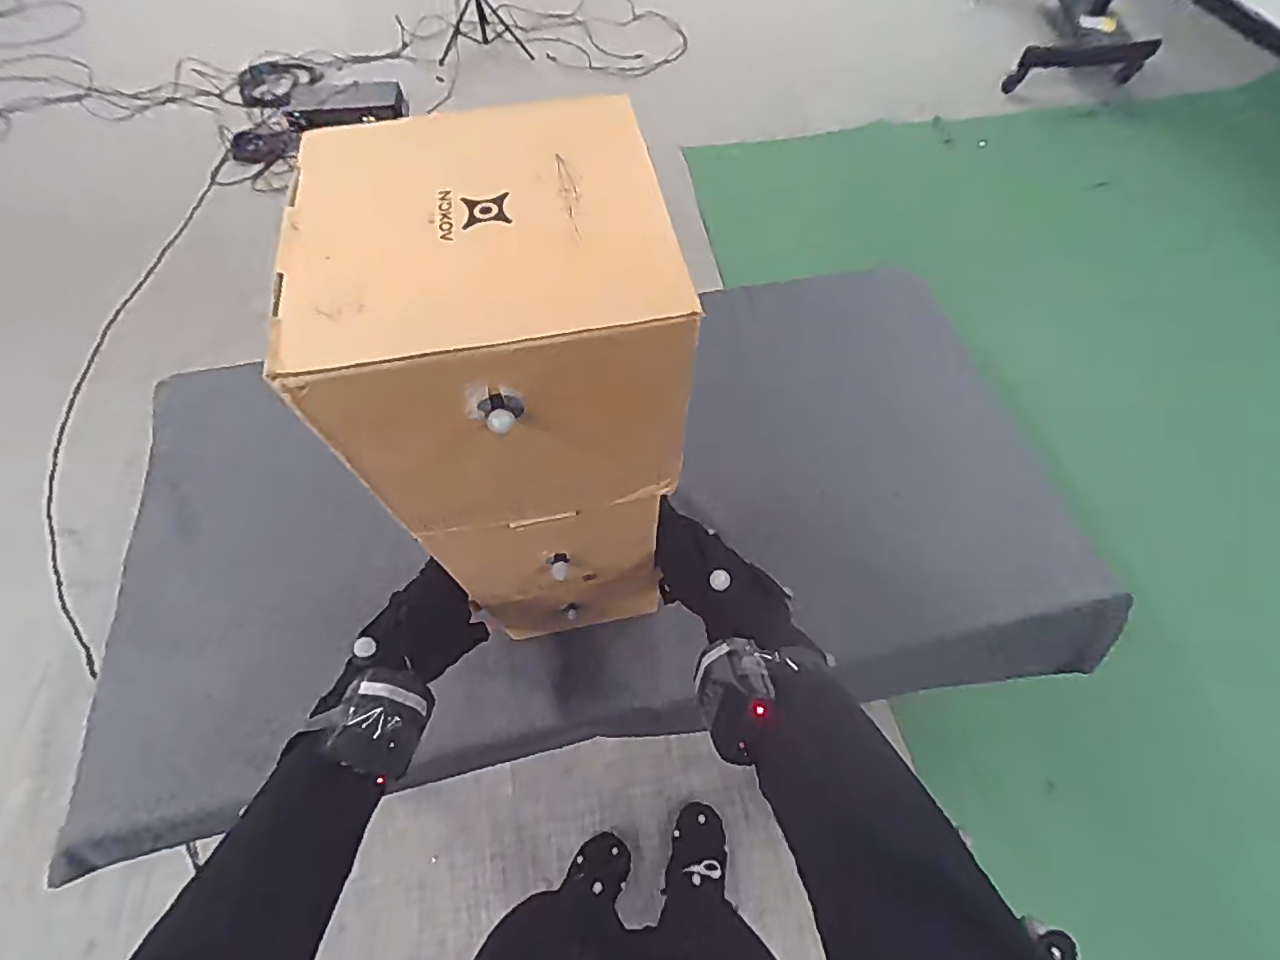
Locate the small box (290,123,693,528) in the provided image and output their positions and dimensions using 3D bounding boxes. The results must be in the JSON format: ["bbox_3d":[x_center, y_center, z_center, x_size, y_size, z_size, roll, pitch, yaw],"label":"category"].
[{"bbox_3d":[-0.075,-0.083,0.337,0.179,0.176,0.168,-10,63,-6],"label":"small box"}]

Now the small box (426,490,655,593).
[{"bbox_3d":[-0.083,-0.010,0.482,0.168,0.176,0.179,-11,62,-6],"label":"small box"}]

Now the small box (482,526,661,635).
[{"bbox_3d":[-0.079,0.068,0.626,0.179,0.176,0.168,-10,62,-5],"label":"small box"}]
